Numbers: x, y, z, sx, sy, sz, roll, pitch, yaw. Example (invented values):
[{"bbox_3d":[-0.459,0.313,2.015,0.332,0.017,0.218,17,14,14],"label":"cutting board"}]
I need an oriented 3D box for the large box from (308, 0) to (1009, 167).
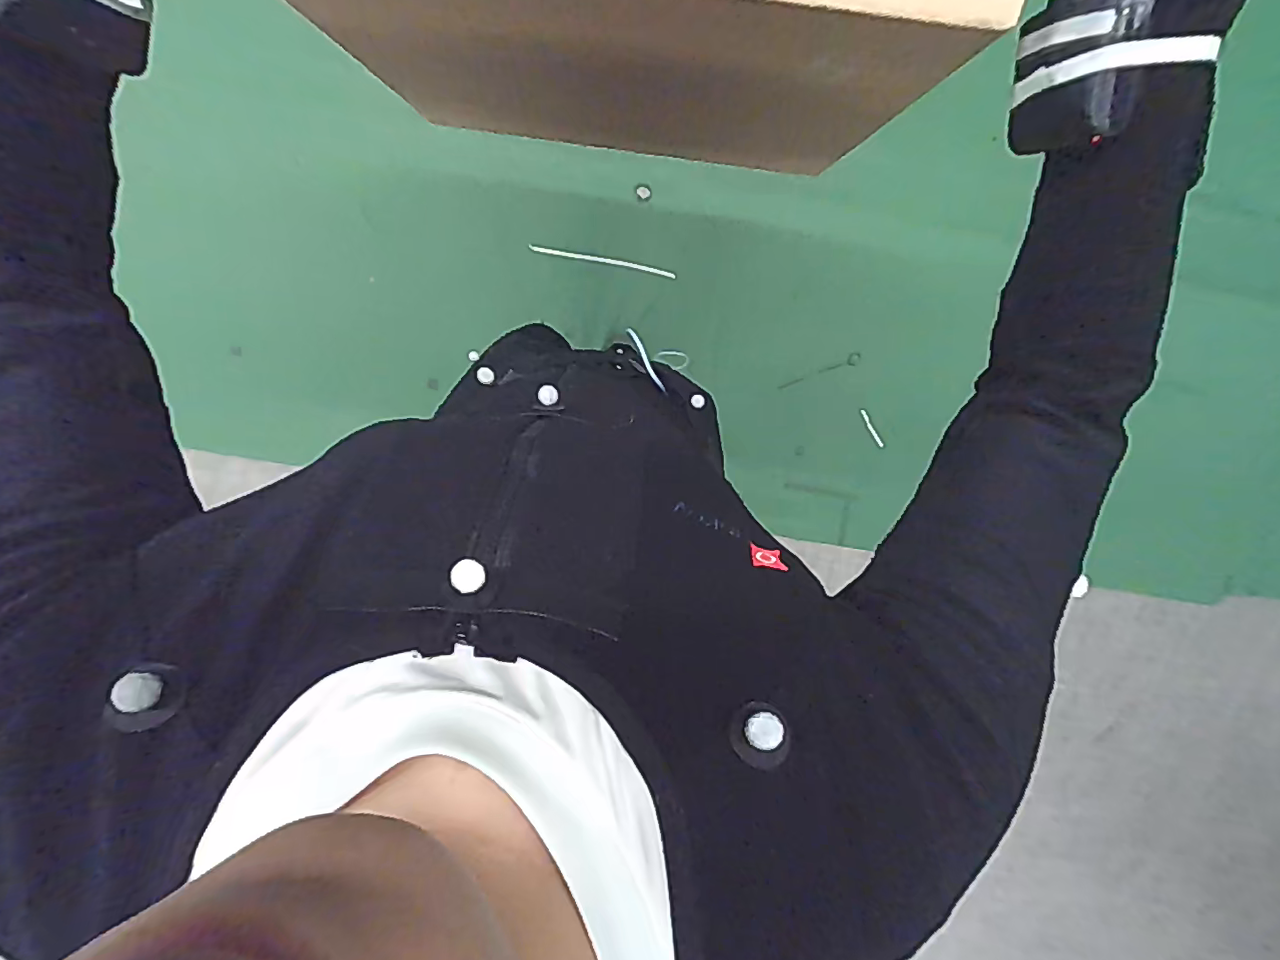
[{"bbox_3d":[0.005,-0.441,0.371,0.408,0.320,0.320,6,108,-1],"label":"large box"}]
